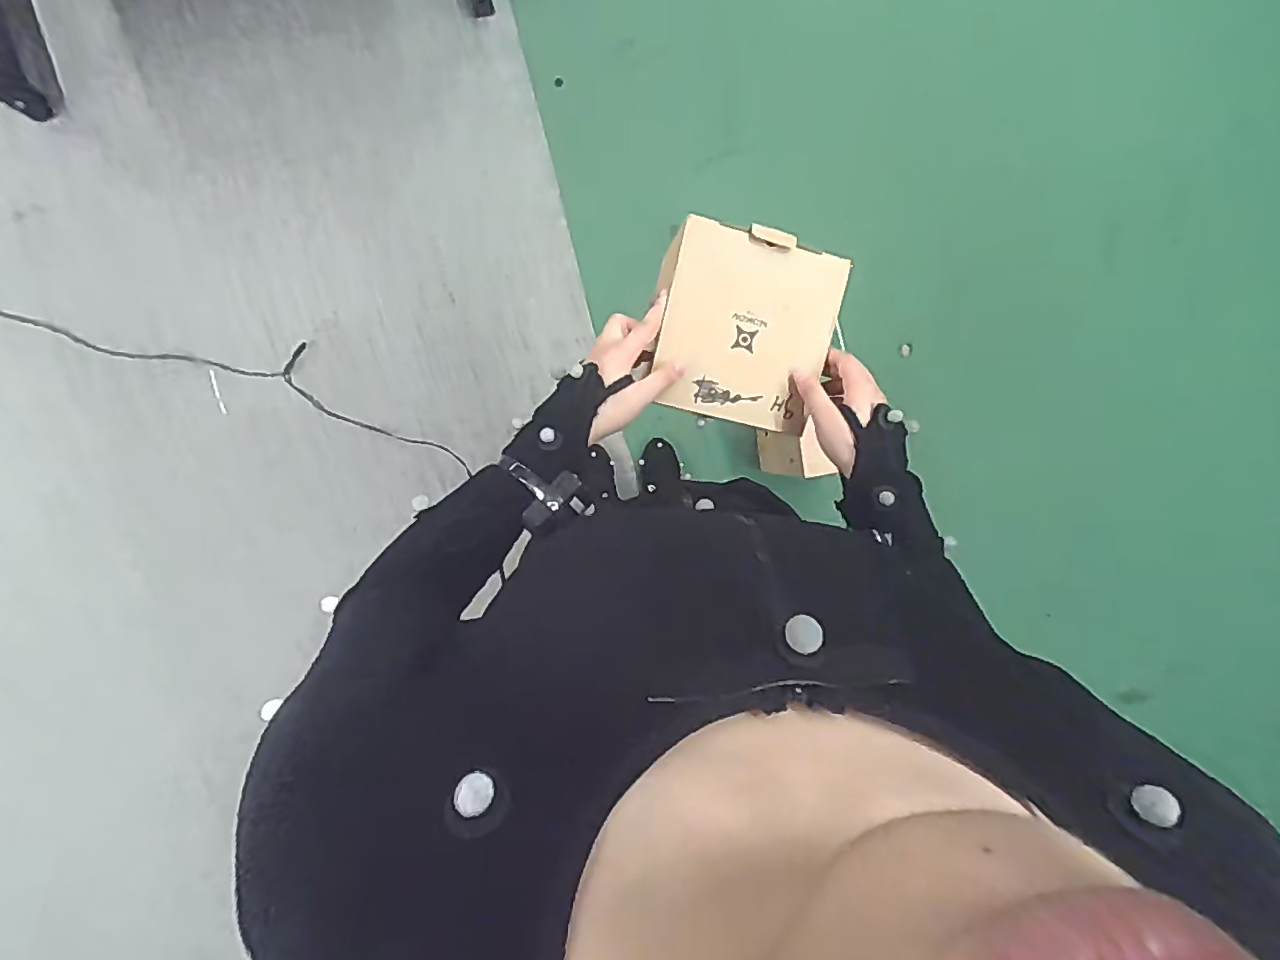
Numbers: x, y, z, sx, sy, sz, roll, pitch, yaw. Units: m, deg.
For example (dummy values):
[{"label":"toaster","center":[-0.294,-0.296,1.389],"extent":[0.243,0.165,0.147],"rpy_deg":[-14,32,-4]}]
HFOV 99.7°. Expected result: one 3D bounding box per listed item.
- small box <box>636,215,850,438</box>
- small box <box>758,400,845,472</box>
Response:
[{"label":"small box","center":[0.095,-0.155,0.591],"extent":[0.168,0.176,0.179],"rpy_deg":[12,99,-7]},{"label":"small box","center":[0.415,-0.113,1.427],"extent":[0.179,0.176,0.168],"rpy_deg":[-8,94,-4]}]
